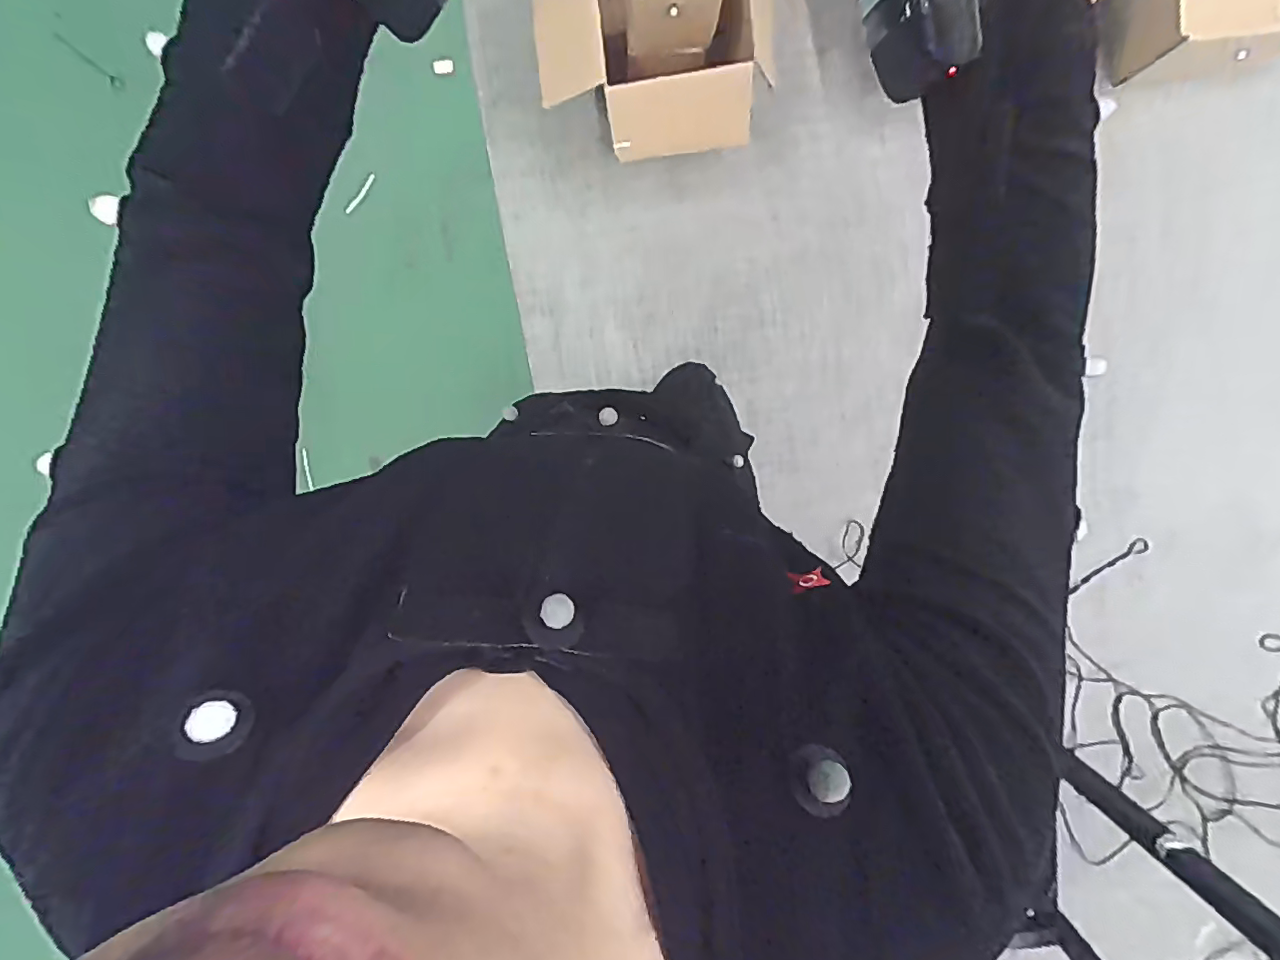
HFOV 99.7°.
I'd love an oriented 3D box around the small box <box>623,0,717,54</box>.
[{"bbox_3d":[0.054,-1.000,1.085,0.179,0.176,0.168,-5,96,0],"label":"small box"}]
